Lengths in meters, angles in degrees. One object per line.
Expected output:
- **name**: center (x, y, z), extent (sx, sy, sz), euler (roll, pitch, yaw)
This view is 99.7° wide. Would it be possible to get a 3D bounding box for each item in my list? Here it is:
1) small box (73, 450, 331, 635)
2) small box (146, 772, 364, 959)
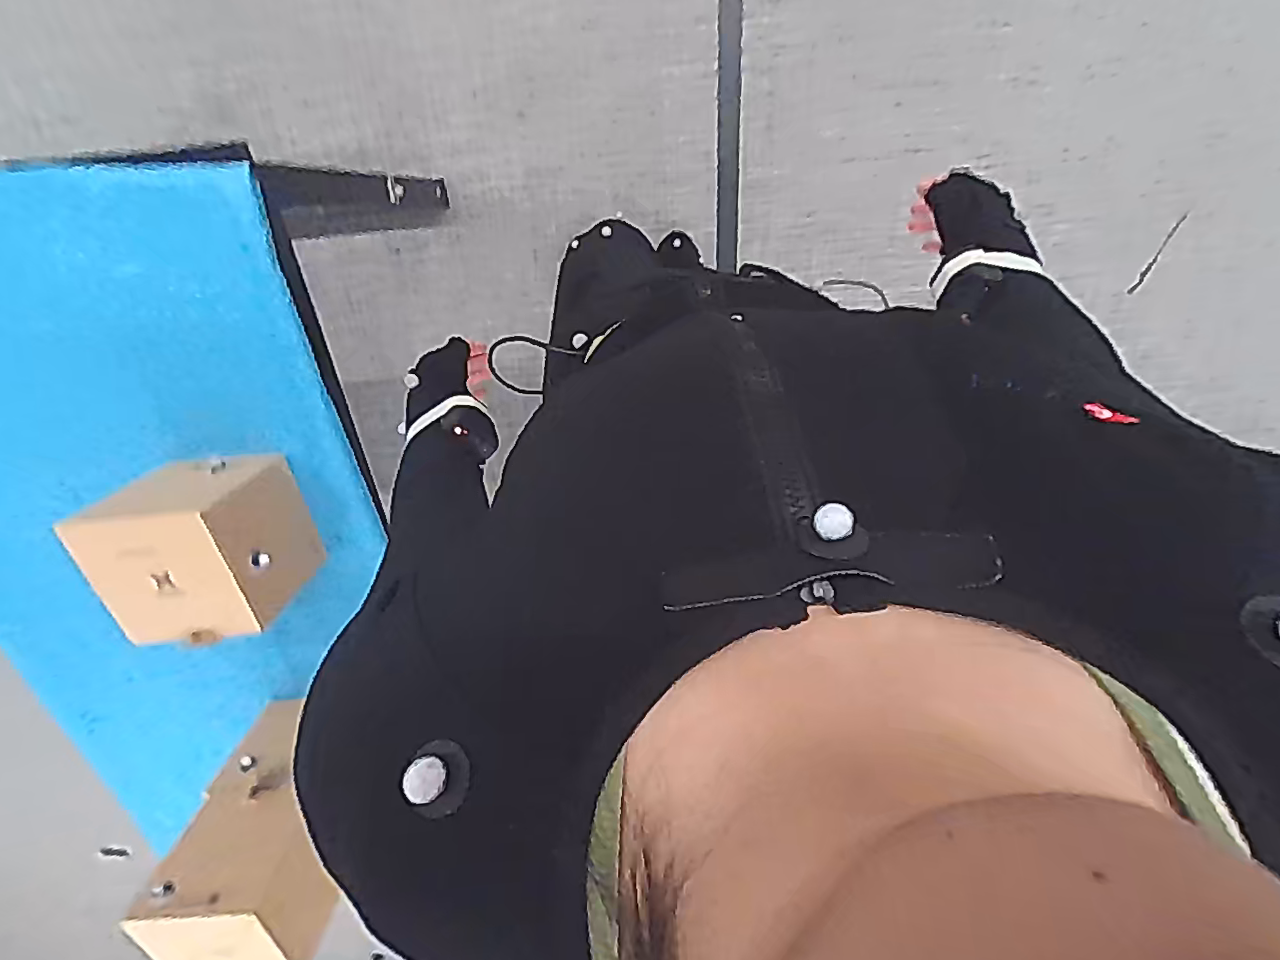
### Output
- **small box**: center (-0.547, 0.077, 0.711), extent (0.168, 0.176, 0.179), euler (-5, 117, 2)
- **small box**: center (-0.531, 0.550, 0.765), extent (0.168, 0.176, 0.179), euler (-4, 117, 2)
